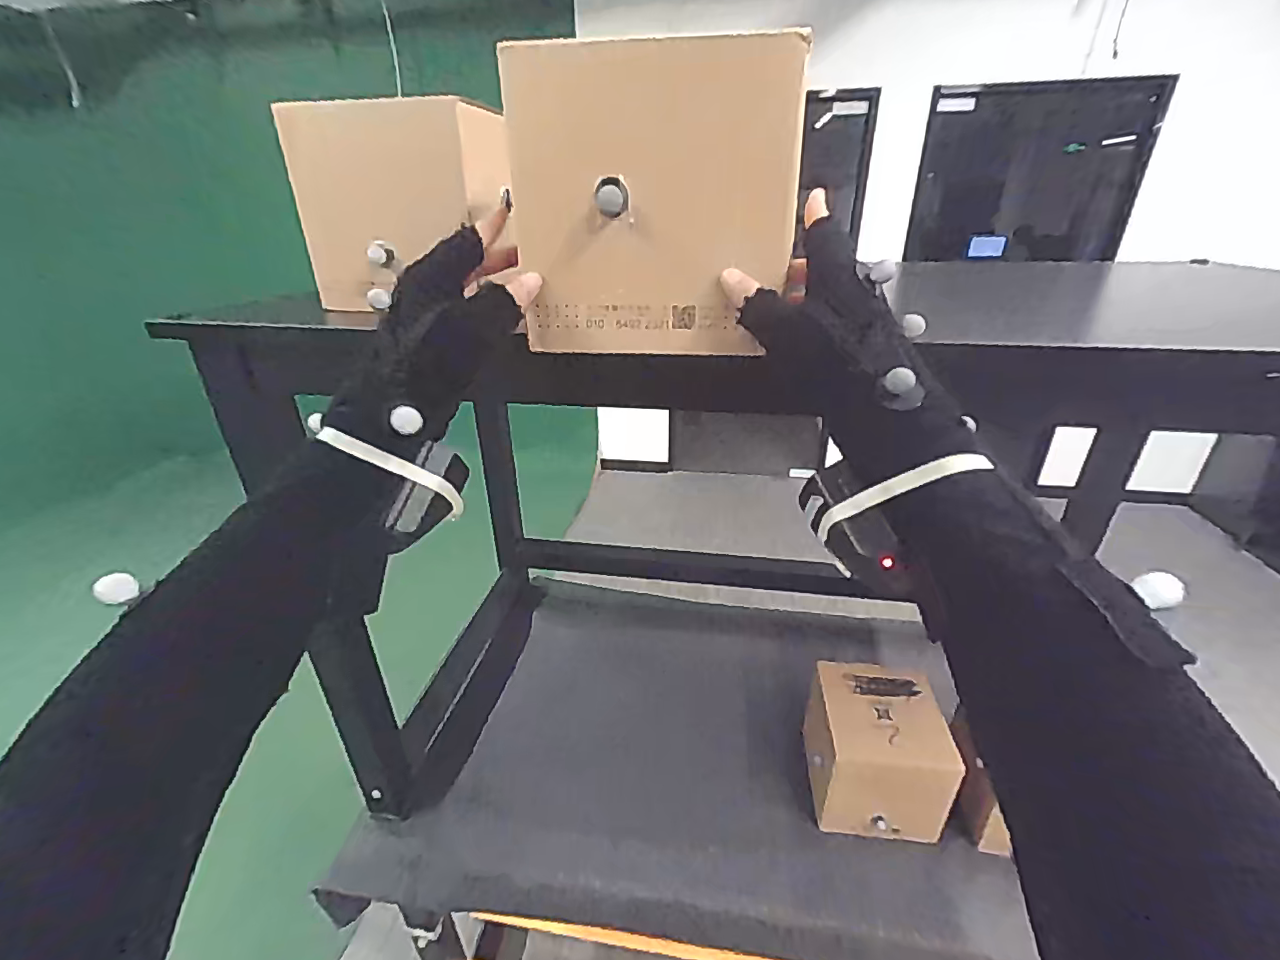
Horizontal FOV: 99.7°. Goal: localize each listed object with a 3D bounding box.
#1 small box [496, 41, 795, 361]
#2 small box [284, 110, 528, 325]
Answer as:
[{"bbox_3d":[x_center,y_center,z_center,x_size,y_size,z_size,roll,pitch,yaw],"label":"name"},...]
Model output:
[{"bbox_3d":[0.014,-0.187,0.395,0.168,0.176,0.179,2,26,7],"label":"small box"},{"bbox_3d":[-0.207,-0.262,0.551,0.168,0.176,0.179,4,28,10],"label":"small box"}]
